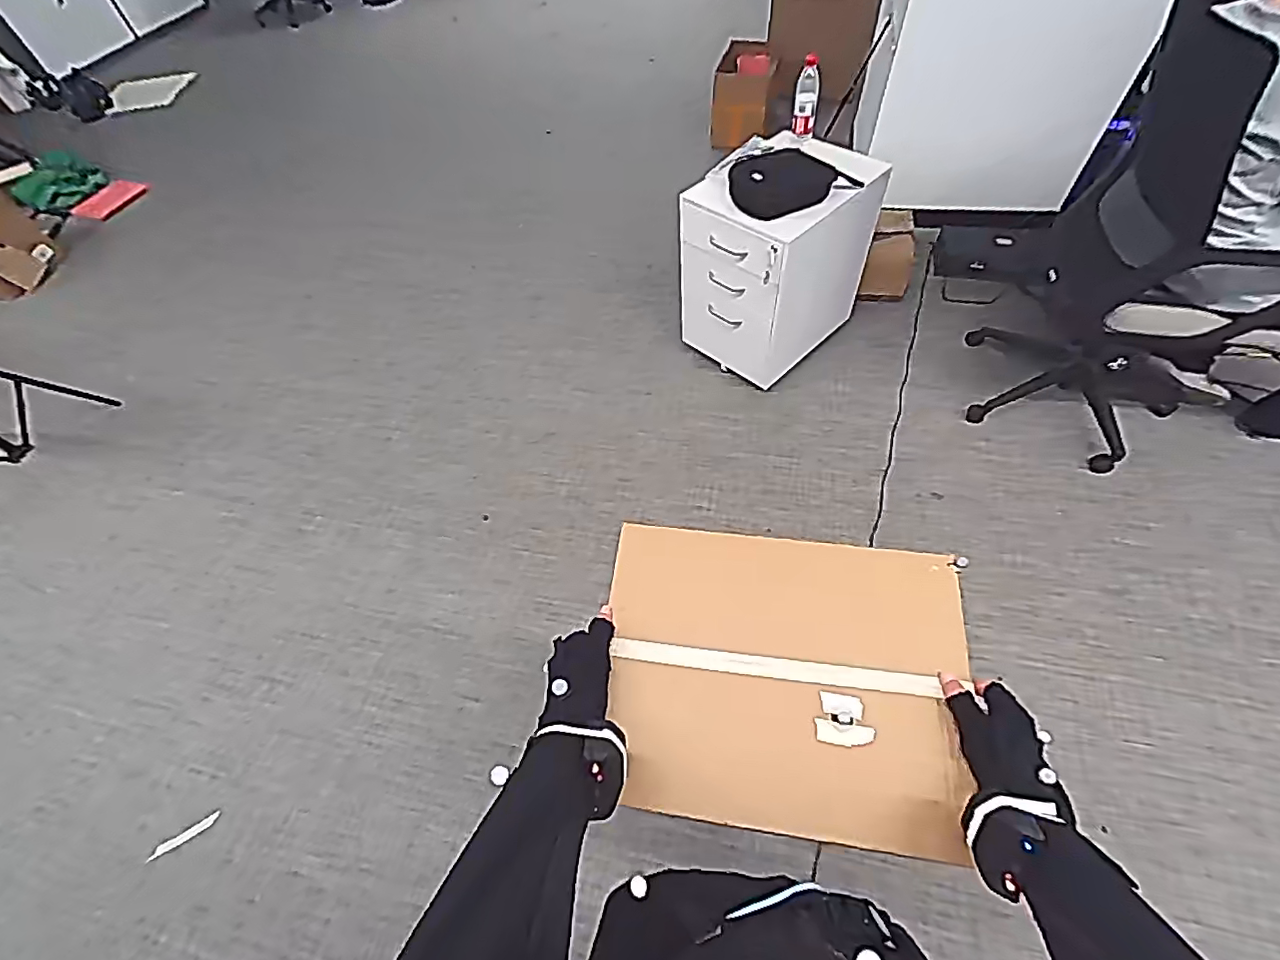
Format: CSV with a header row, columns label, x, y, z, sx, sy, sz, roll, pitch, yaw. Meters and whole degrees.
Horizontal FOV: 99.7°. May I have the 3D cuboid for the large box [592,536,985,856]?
label,x,y,z,sx,sy,sz,roll,pitch,yaw
large box,0.170,0.293,0.750,0.408,0.320,0.320,5,62,7
